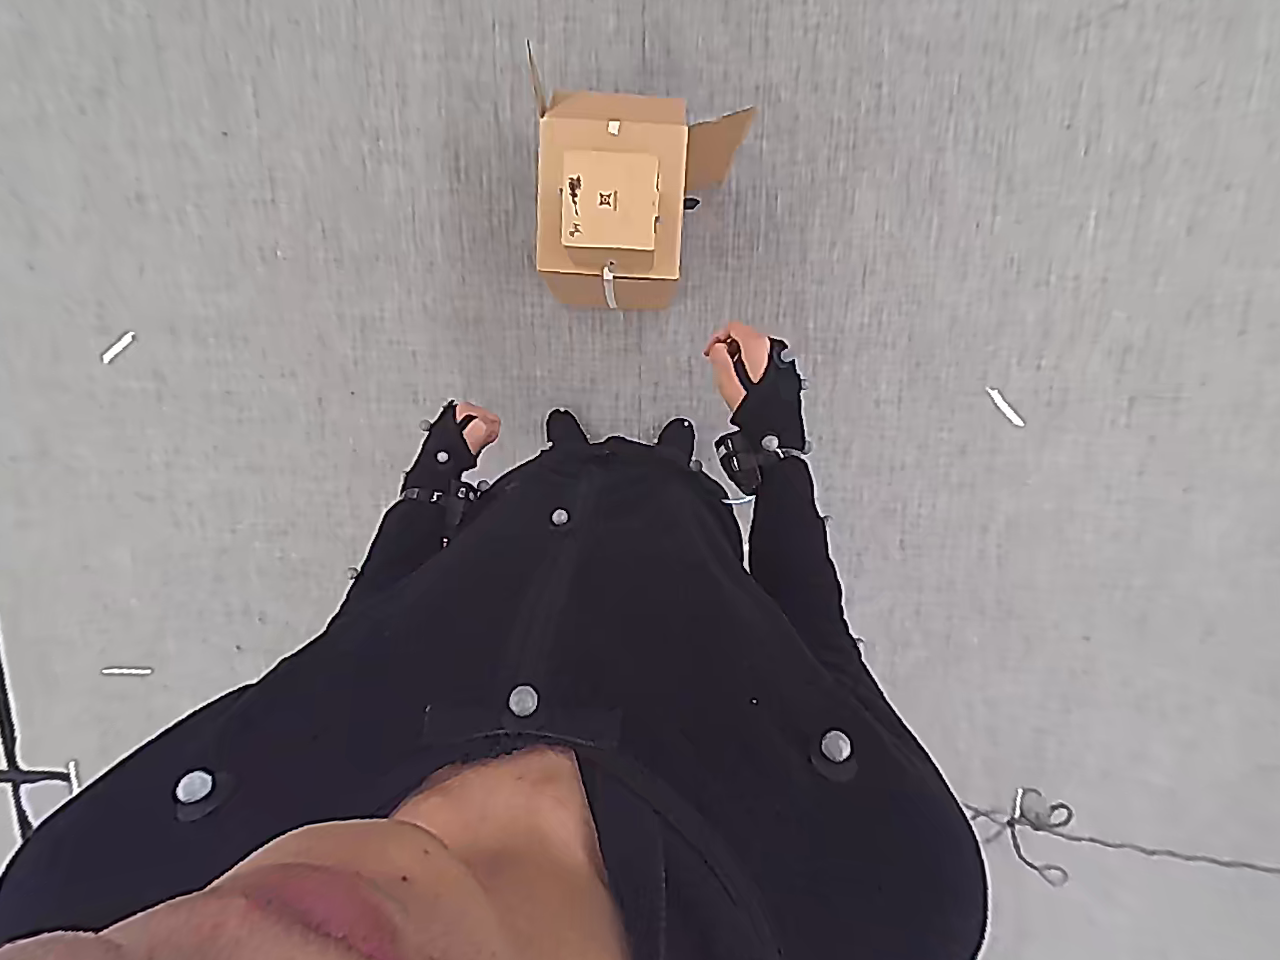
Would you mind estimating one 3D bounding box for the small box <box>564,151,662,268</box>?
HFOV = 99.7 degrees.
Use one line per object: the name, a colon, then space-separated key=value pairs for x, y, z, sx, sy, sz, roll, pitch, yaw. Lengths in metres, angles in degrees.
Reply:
small box: x=-0.052 y=-0.527 z=1.076 sx=0.179 sy=0.176 sz=0.168 roll=3 pitch=100 yaw=-1
